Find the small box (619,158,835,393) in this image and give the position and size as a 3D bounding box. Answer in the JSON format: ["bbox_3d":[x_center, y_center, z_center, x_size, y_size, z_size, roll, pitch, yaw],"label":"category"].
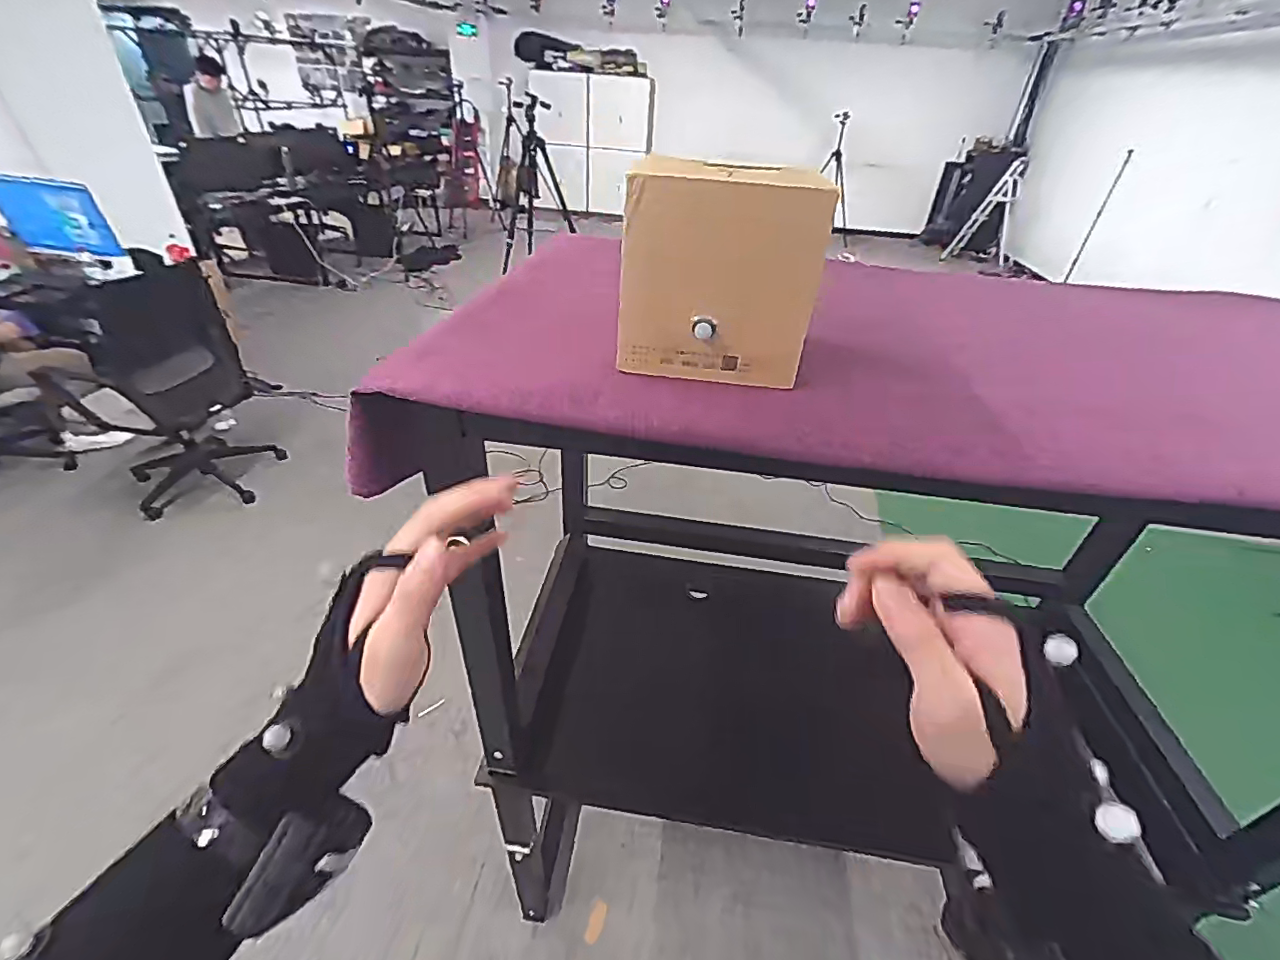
[{"bbox_3d":[0.073,-0.203,0.525,0.168,0.176,0.179,7,35,4],"label":"small box"}]
